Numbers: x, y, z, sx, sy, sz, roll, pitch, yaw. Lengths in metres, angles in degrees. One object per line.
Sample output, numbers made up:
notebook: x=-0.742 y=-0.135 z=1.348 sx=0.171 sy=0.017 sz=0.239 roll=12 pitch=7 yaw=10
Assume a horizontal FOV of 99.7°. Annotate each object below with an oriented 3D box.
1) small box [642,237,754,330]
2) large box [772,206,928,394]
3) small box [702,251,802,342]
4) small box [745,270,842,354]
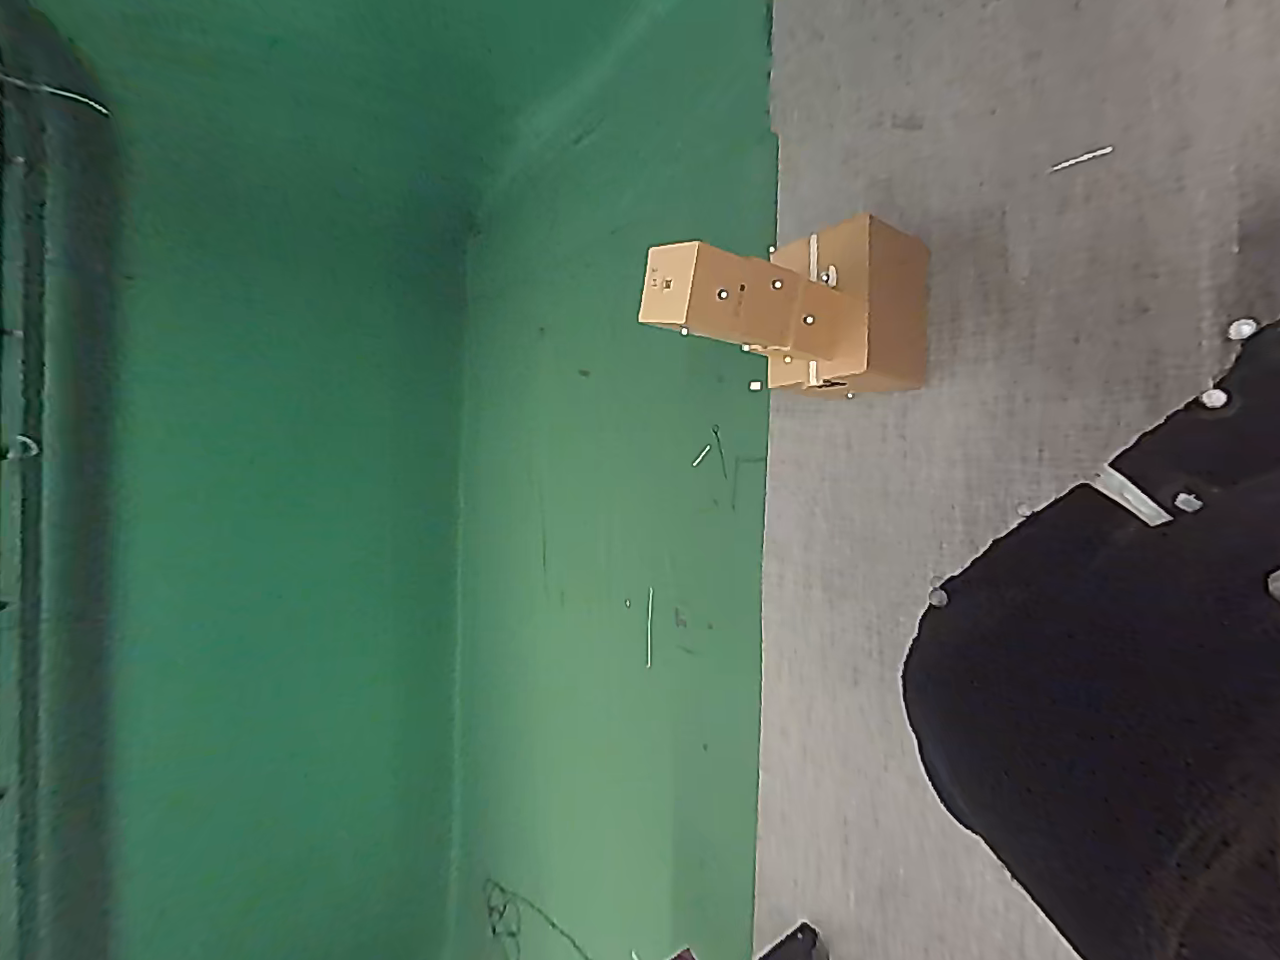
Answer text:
small box: x=0.130 y=-0.437 z=1.221 sx=0.179 sy=0.176 sz=0.168 roll=25 pitch=109 yaw=51
large box: x=0.598 y=-0.481 z=1.547 sx=0.320 sy=0.320 sz=0.408 roll=0 pitch=89 yaw=53
small box: x=0.268 y=-0.441 z=1.312 sx=0.168 sy=0.176 sz=0.179 roll=24 pitch=110 yaw=52
small box: x=0.401 y=-0.431 z=1.406 sx=0.168 sy=0.176 sz=0.179 roll=18 pitch=105 yaw=52
